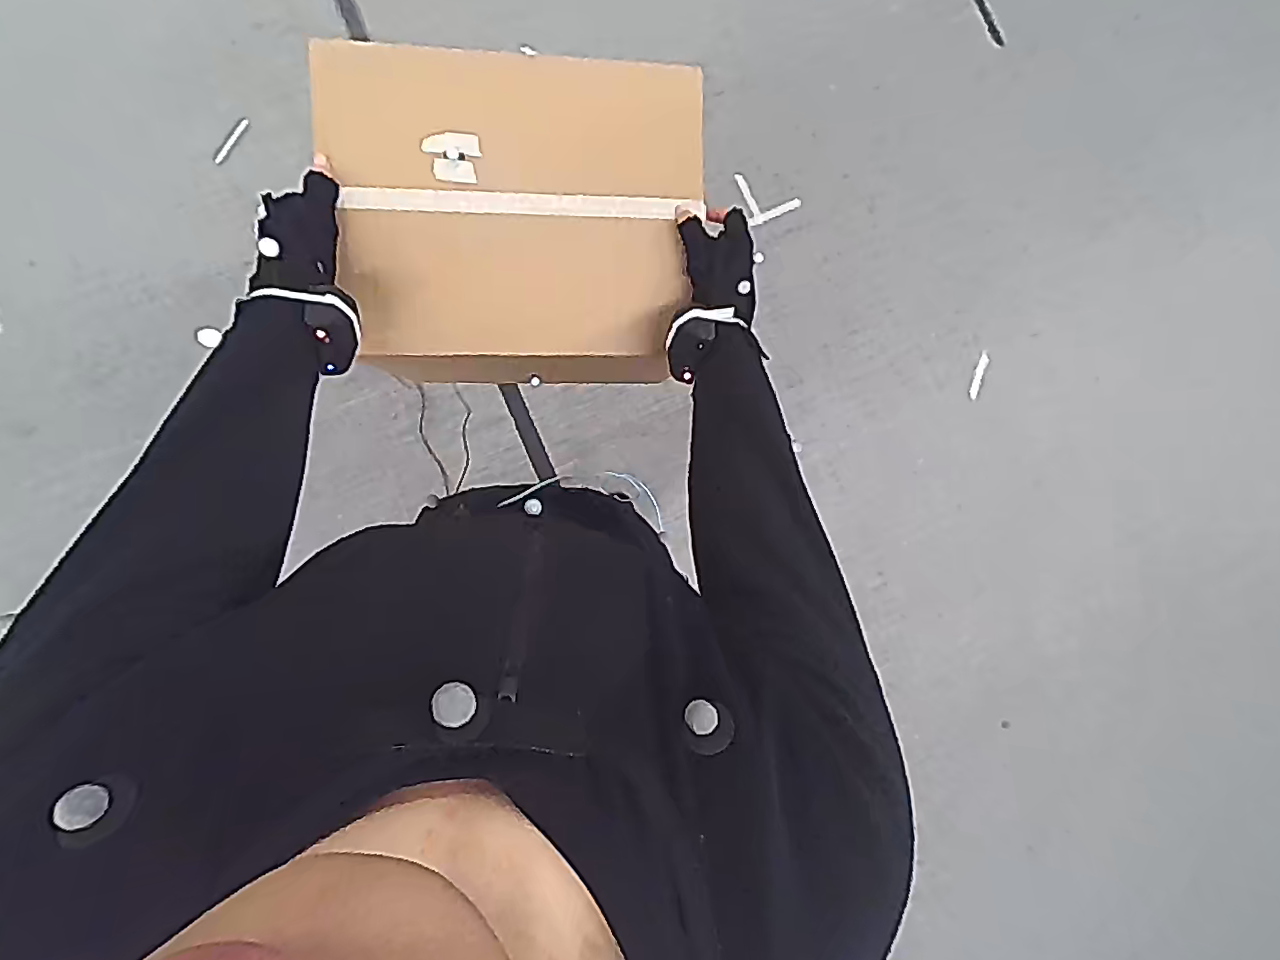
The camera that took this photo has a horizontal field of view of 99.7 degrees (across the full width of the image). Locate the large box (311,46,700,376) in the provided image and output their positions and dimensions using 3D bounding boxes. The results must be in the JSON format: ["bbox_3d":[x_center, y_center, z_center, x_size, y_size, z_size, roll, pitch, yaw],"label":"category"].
[{"bbox_3d":[-0.150,-0.314,0.732,0.408,0.320,0.320,-2,94,-7],"label":"large box"}]
